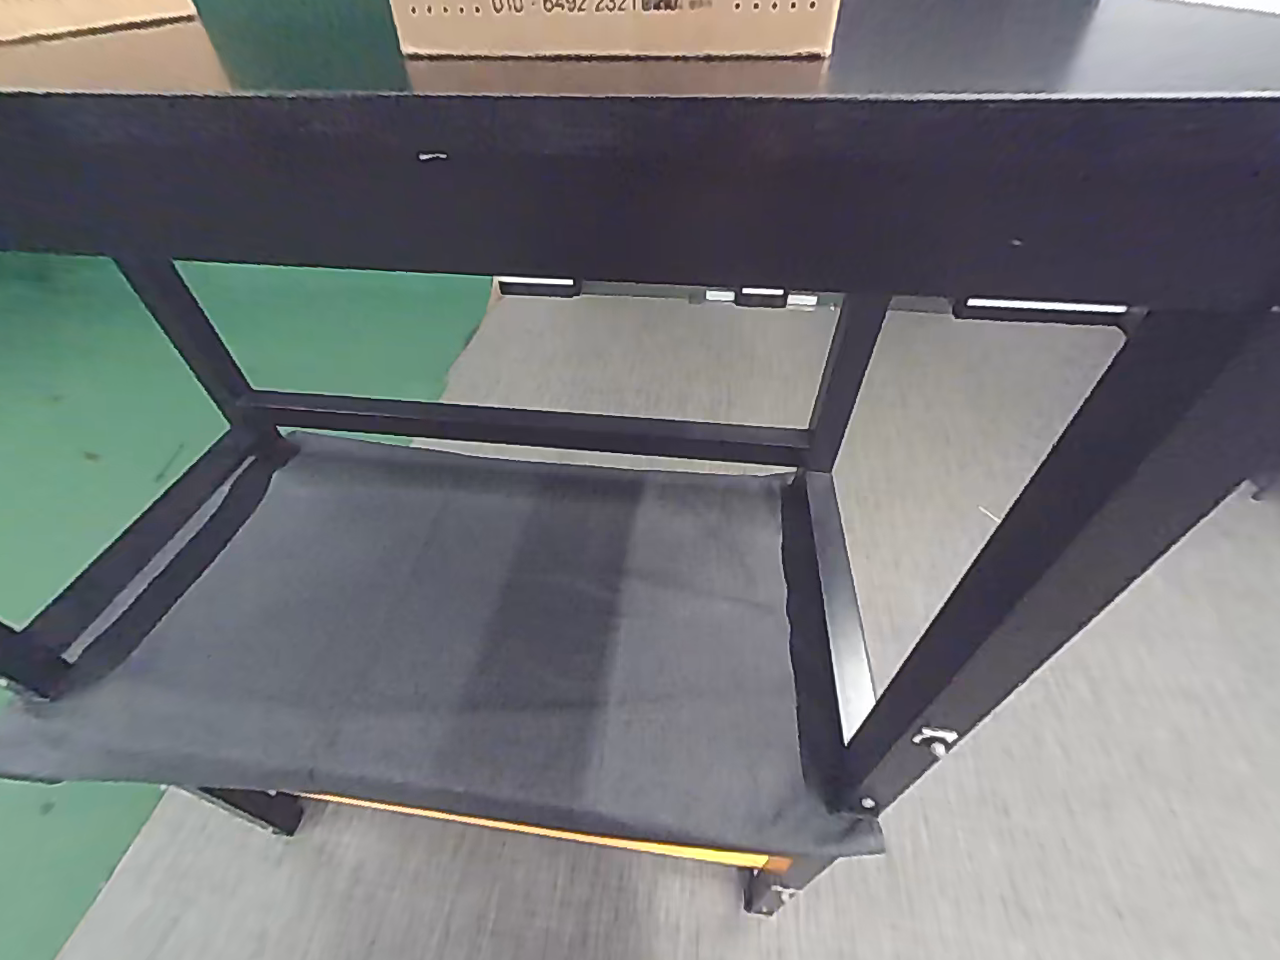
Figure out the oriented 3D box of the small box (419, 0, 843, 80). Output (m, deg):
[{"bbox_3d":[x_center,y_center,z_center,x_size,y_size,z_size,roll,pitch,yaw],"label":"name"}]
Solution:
[{"bbox_3d":[0.002,-0.270,0.208,0.168,0.176,0.179,6,46,7],"label":"small box"}]
